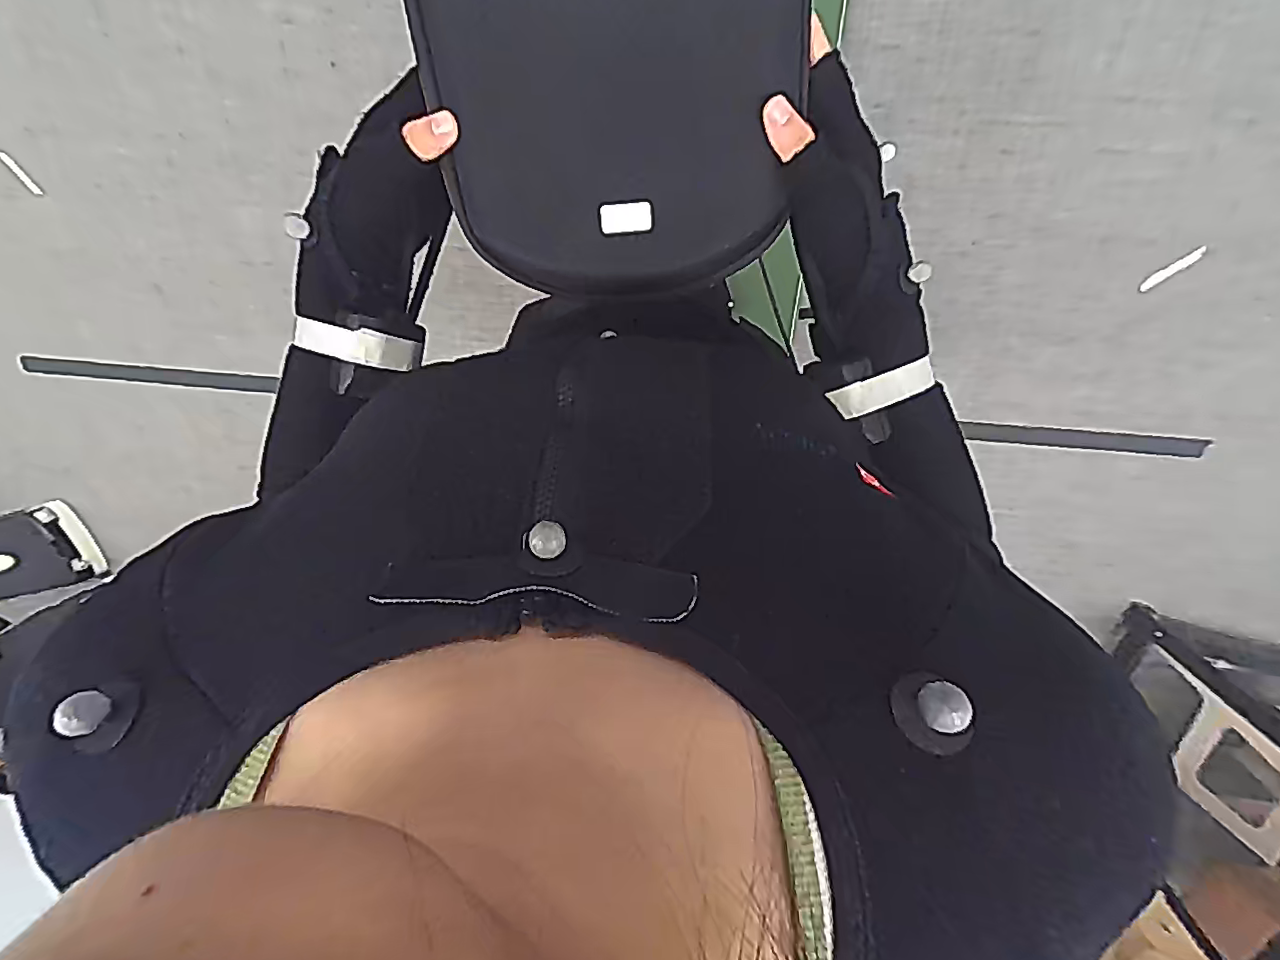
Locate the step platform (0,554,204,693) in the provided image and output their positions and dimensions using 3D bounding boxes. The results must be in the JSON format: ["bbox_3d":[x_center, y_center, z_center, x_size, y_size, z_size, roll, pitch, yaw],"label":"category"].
[{"bbox_3d":[-1.932,0.518,1.920,0.684,0.204,0.286,-23,108,14],"label":"step platform"}]
